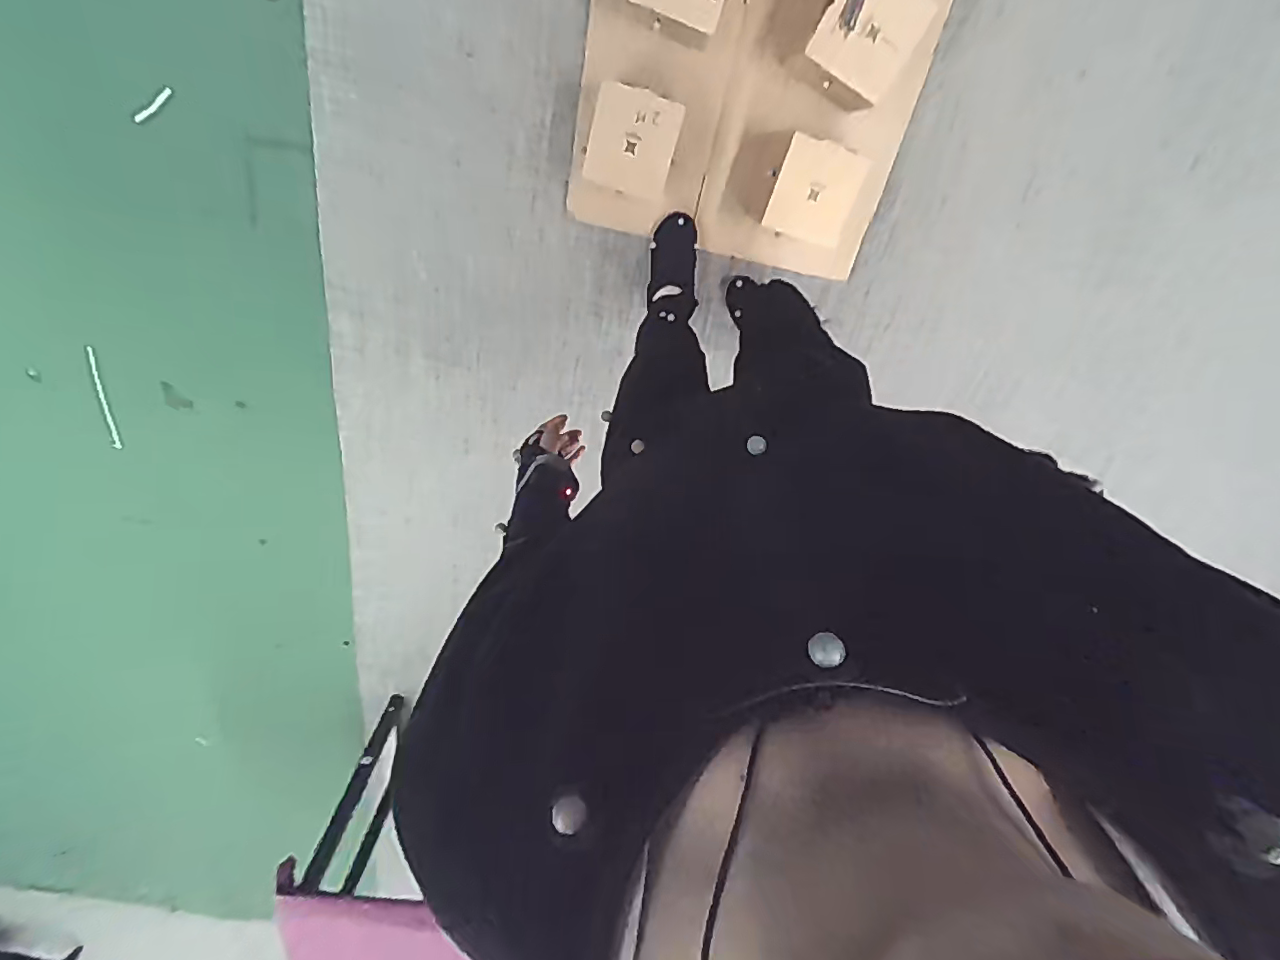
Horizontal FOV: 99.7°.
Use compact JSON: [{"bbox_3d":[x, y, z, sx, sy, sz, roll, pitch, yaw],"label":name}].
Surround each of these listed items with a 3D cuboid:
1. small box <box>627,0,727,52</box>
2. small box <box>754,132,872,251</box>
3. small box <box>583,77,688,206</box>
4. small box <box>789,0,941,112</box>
[{"bbox_3d":[0.079,-0.913,0.977,0.179,0.176,0.168,17,118,-8],"label":"small box"},{"bbox_3d":[0.352,-0.608,1.144,0.168,0.176,0.179,14,119,-7],"label":"small box"},{"bbox_3d":[-0.009,-0.685,1.109,0.168,0.176,0.179,15,119,-8],"label":"small box"},{"bbox_3d":[0.407,-0.825,1.017,0.179,0.176,0.168,25,117,-14],"label":"small box"}]
